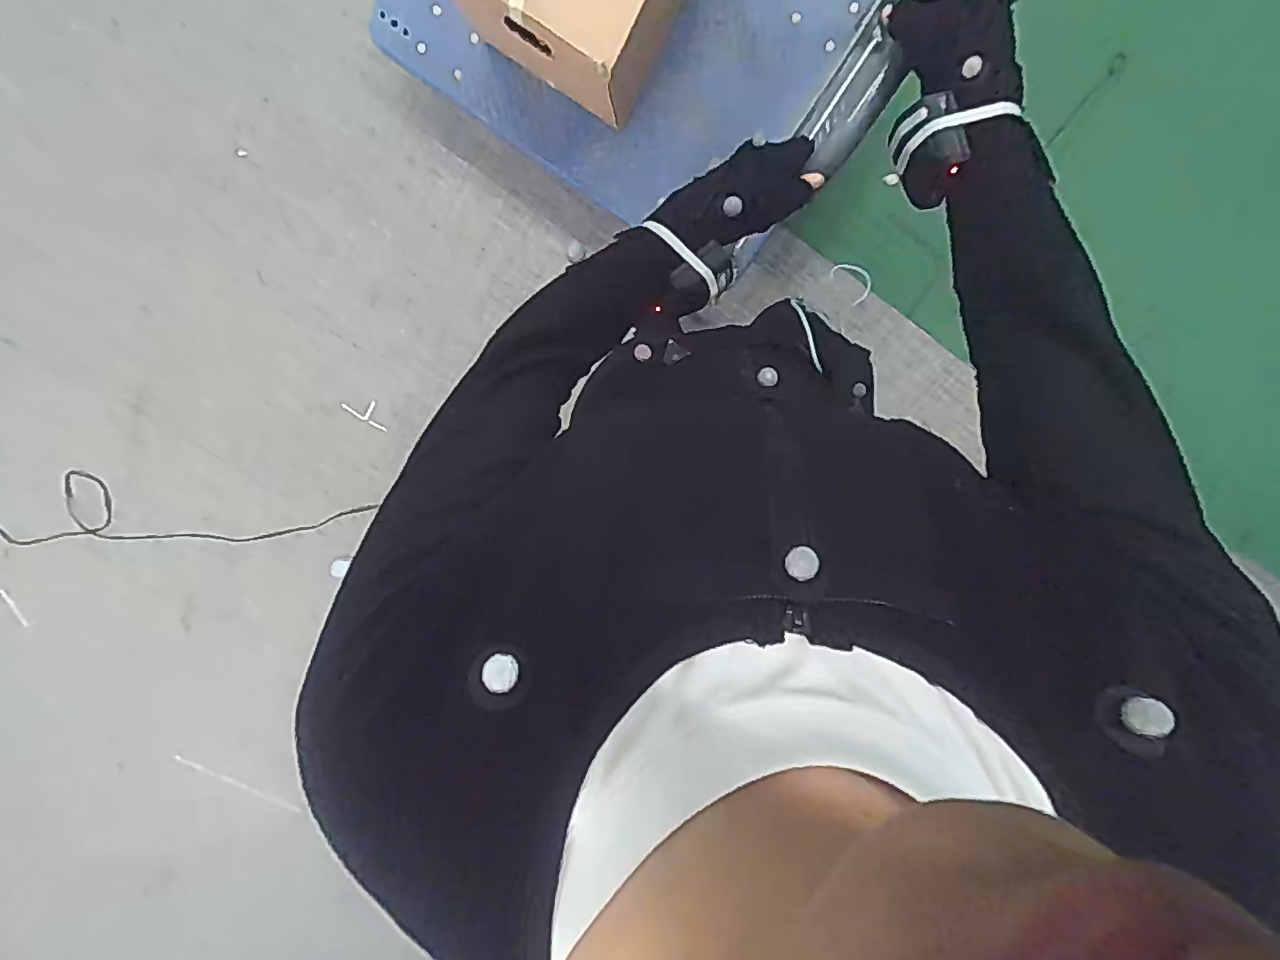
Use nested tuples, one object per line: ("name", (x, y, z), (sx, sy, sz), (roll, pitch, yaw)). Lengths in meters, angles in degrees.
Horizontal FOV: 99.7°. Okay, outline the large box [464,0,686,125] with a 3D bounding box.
("large box", (-0.065, -0.887, 0.861), (0.320, 0.320, 0.408), (29, 108, -8))
